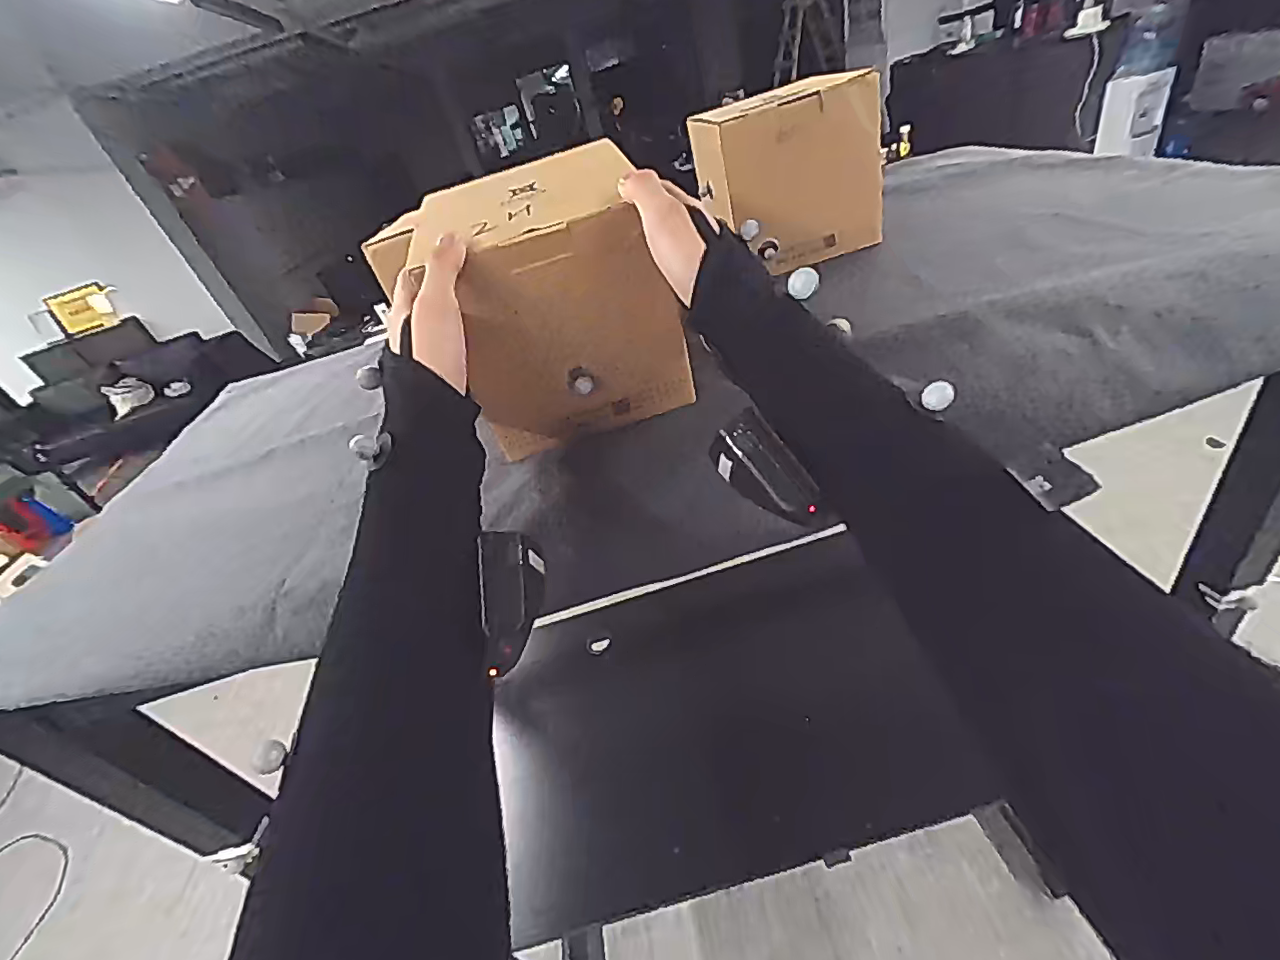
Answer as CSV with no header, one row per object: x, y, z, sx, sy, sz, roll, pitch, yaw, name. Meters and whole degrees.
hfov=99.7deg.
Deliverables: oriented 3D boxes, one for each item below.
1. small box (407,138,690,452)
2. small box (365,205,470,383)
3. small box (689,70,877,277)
-0.066,-0.153,0.450,0.168,0.176,0.179,-18,44,0,small box
-0.176,-0.238,0.639,0.179,0.176,0.168,-15,36,5,small box
0.169,-0.360,0.647,0.168,0.176,0.179,-16,35,3,small box
